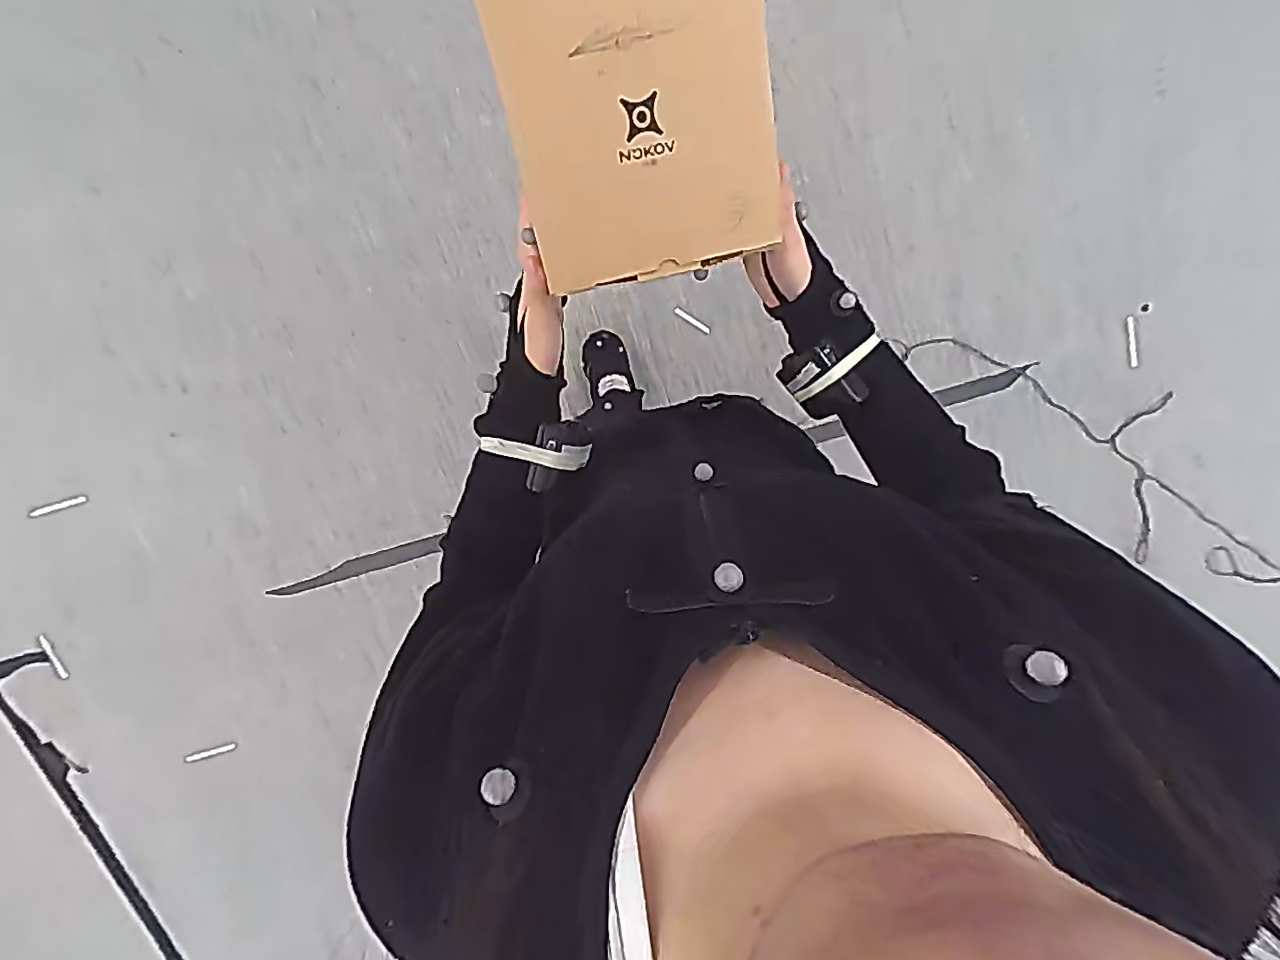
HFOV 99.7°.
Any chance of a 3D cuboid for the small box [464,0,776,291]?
[{"bbox_3d":[-0.012,-0.253,0.404,0.168,0.176,0.179,-14,113,-1],"label":"small box"}]
